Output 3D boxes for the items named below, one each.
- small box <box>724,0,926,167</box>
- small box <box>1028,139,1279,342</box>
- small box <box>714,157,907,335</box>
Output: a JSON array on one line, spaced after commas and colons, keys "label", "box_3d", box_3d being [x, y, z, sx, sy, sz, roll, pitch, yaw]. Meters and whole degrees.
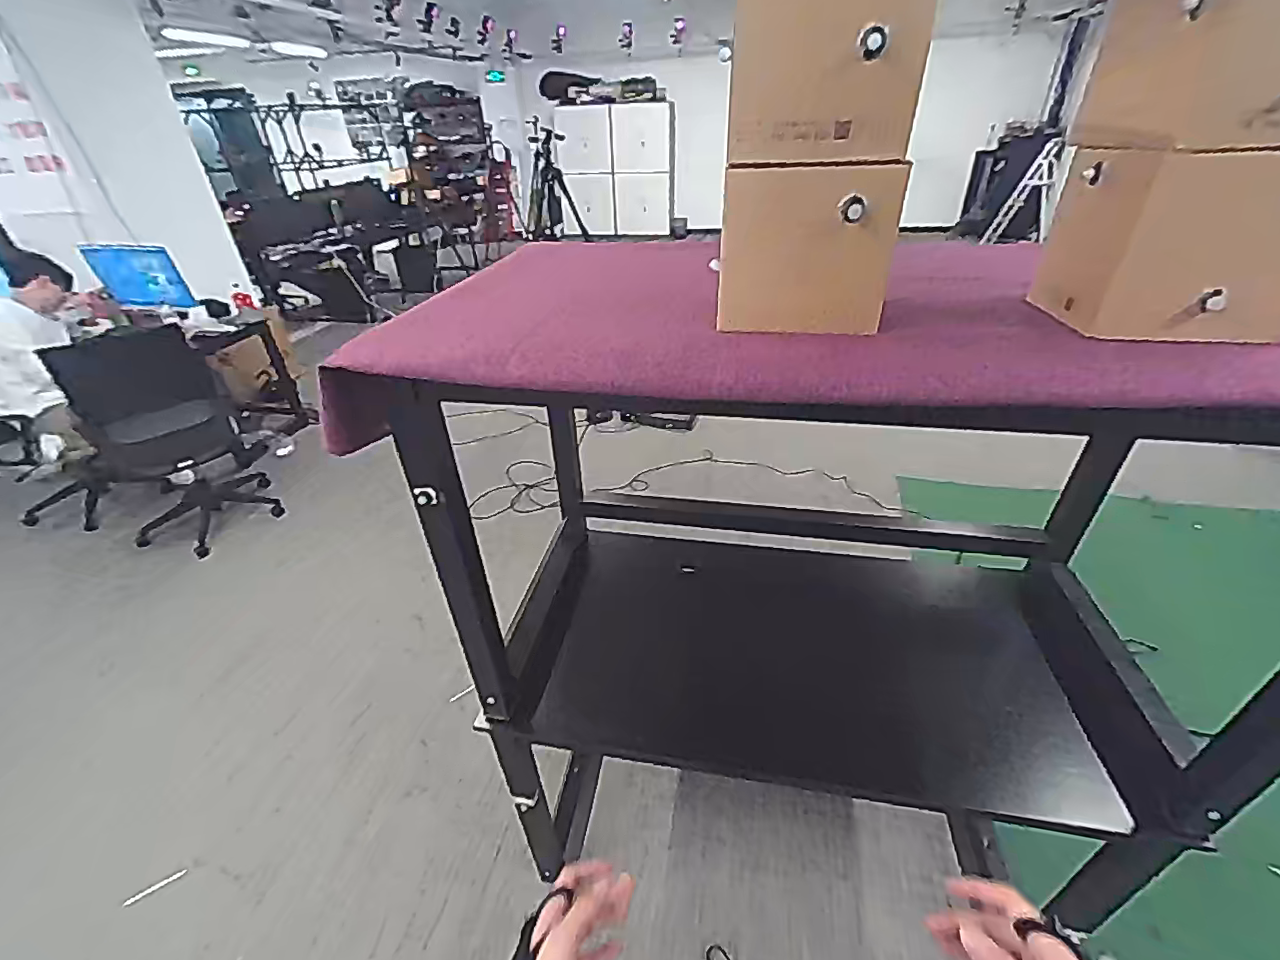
[{"label": "small box", "box_3d": [0.175, -0.411, 0.539, 0.168, 0.176, 0.179, 5, 34, 11]}, {"label": "small box", "box_3d": [0.549, -0.247, 0.555, 0.179, 0.176, 0.168, 4, 32, 10]}, {"label": "small box", "box_3d": [0.183, -0.273, 0.625, 0.179, 0.176, 0.168, 4, 33, 11]}]
